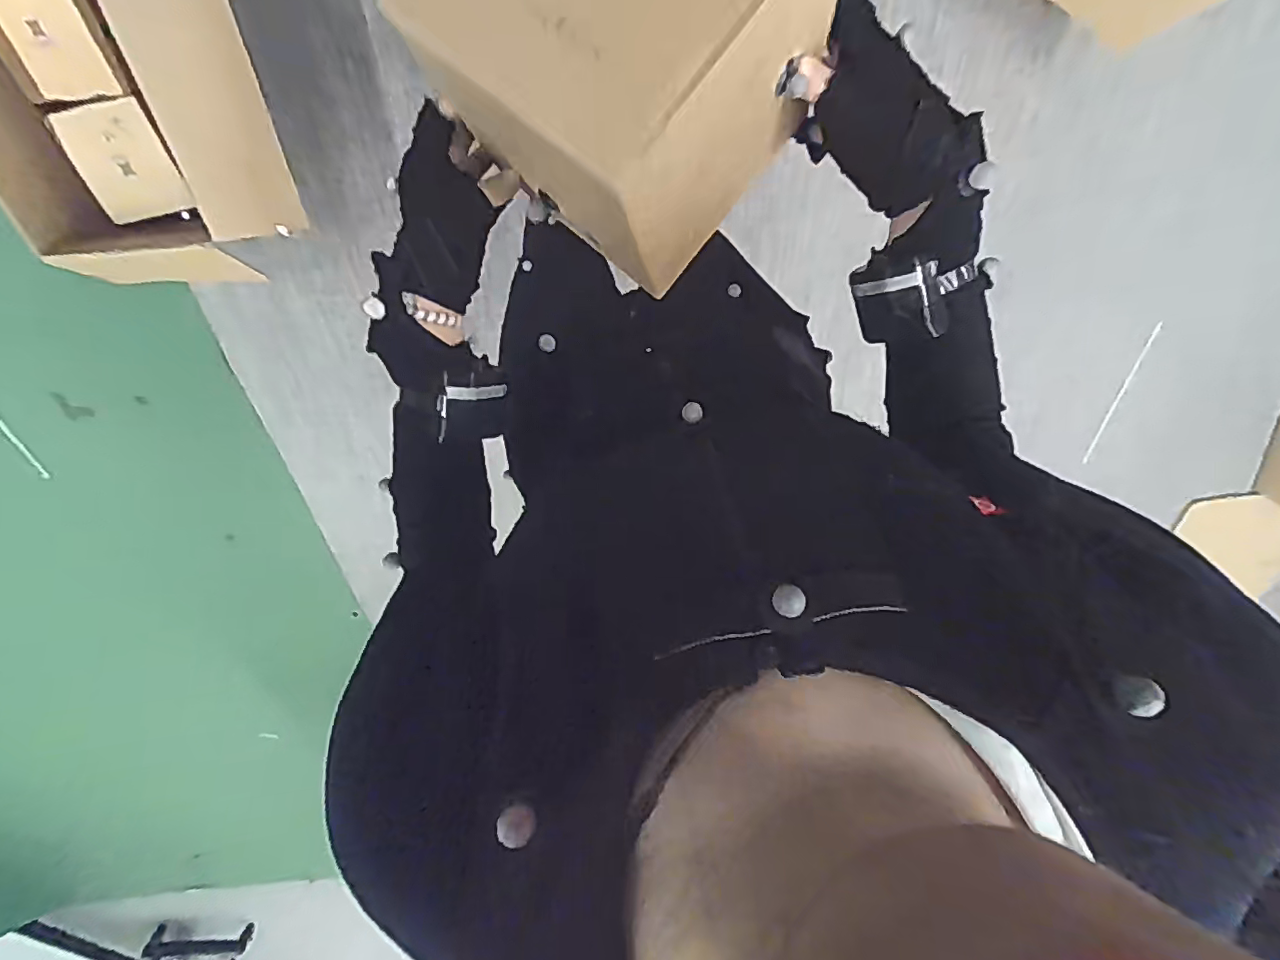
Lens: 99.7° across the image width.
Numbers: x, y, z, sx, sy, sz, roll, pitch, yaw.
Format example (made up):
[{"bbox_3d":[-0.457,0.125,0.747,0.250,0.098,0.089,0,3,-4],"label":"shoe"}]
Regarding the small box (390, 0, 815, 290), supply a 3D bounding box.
[{"bbox_3d":[-0.009,-0.259,0.349,0.168,0.176,0.179,40,99,6],"label":"small box"}]
